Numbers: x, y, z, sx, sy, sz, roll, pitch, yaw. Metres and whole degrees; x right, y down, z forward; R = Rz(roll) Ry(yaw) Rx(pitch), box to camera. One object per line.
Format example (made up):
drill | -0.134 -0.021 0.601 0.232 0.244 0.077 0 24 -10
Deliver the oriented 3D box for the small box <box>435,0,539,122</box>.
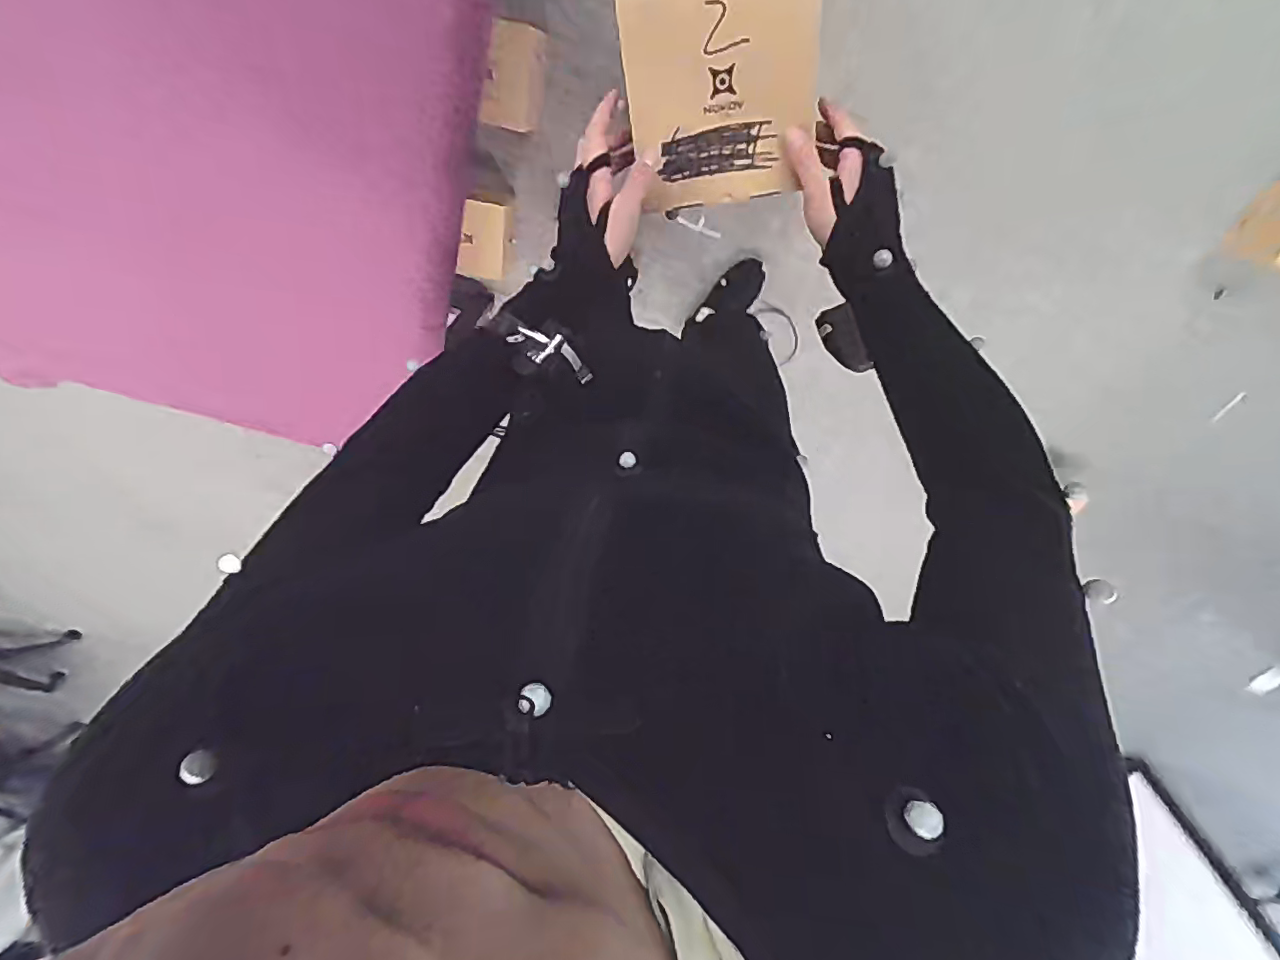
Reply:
small box | -0.305 -0.851 1.093 0.168 0.176 0.179 11 125 -8

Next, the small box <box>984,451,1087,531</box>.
small box | 1.271 0.033 1.754 0.168 0.176 0.179 17 123 -12

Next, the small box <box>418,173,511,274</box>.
small box | -0.405 -0.605 1.268 0.179 0.176 0.168 9 125 -7
